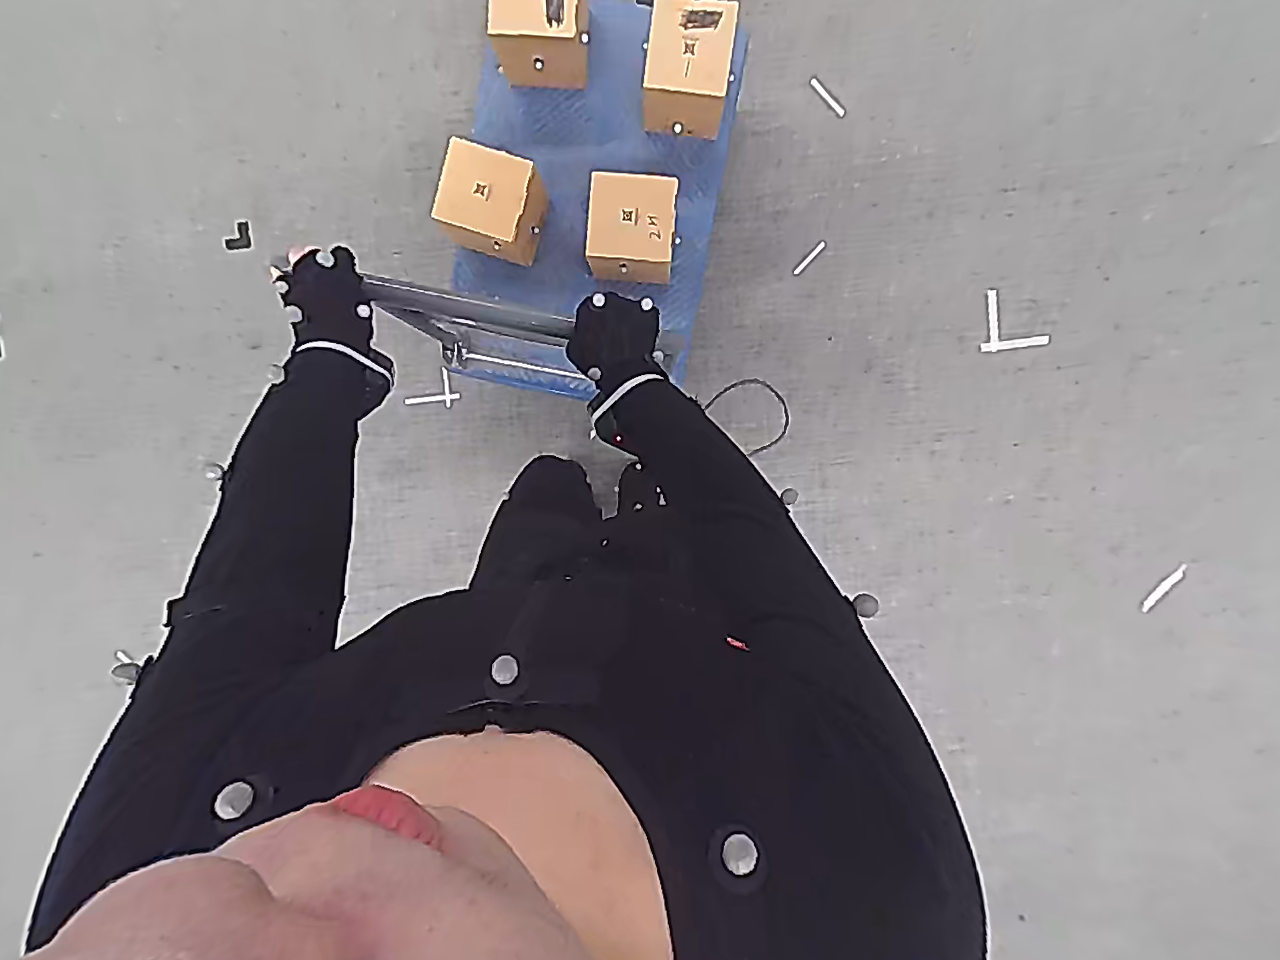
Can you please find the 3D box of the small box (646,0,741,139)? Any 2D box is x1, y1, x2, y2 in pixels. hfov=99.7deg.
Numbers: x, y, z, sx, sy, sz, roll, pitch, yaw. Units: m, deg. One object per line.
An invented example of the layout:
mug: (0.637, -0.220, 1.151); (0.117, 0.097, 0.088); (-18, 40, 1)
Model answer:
small box: (0.104, -0.859, 1.133); (0.168, 0.176, 0.179); (8, 97, 1)

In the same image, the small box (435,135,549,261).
small box: (-0.312, -0.598, 1.171); (0.179, 0.176, 0.168); (17, 95, -2)

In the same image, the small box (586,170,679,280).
small box: (-0.013, -0.541, 1.168); (0.179, 0.176, 0.168); (6, 96, 1)
